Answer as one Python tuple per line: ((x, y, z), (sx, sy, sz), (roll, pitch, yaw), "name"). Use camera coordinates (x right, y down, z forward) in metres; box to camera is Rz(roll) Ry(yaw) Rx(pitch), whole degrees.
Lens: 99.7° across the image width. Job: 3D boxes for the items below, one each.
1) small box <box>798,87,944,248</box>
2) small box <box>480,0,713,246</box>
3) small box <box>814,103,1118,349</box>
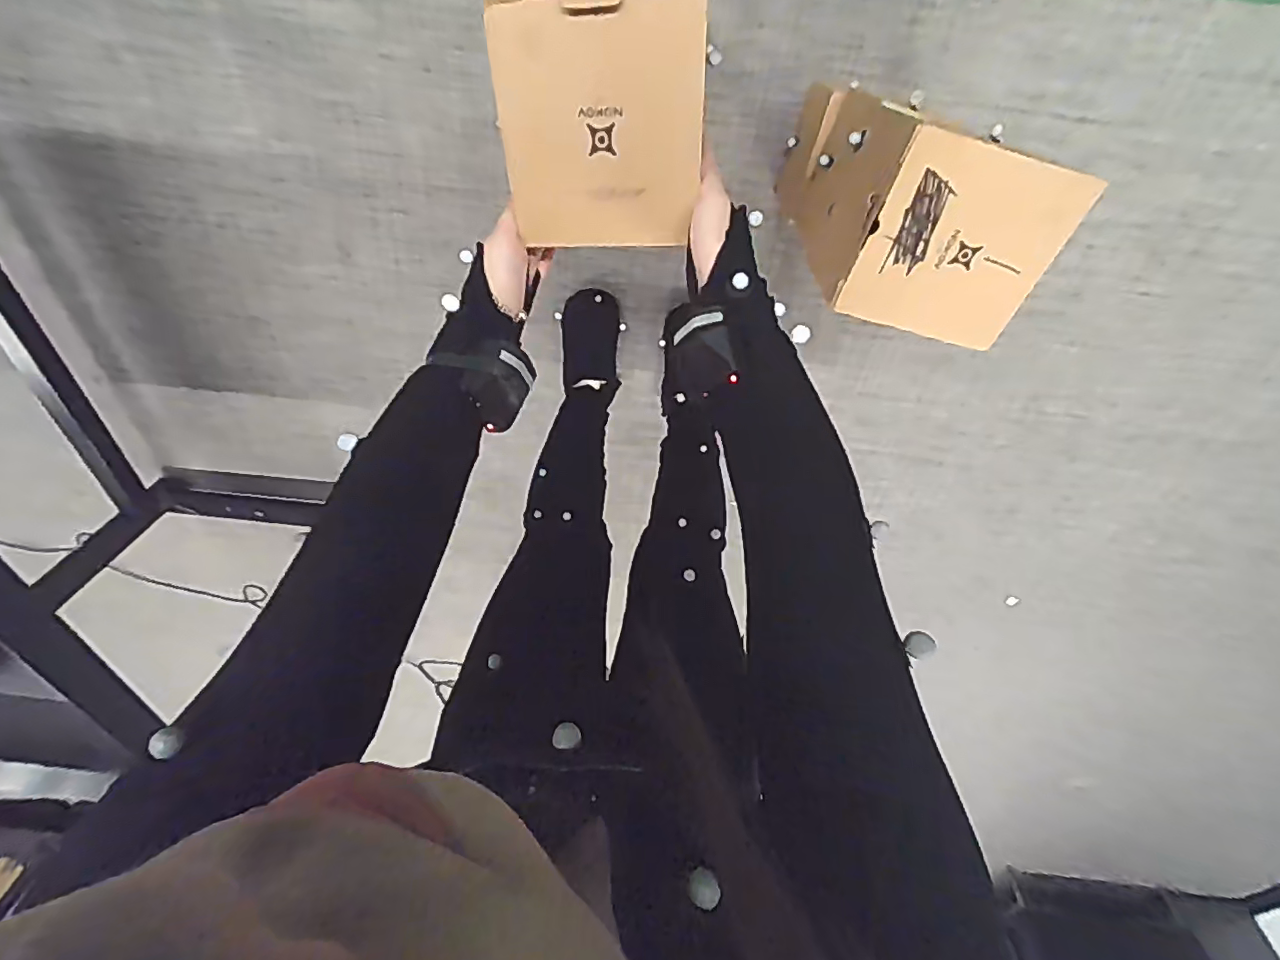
((0.317, -0.366, 0.673), (0.179, 0.176, 0.168), (15, 130, -7), "small box")
((-0.024, -0.326, 0.483), (0.168, 0.176, 0.179), (1, 130, 5), "small box")
((0.298, -0.262, 0.548), (0.179, 0.176, 0.168), (13, 130, -6), "small box")
